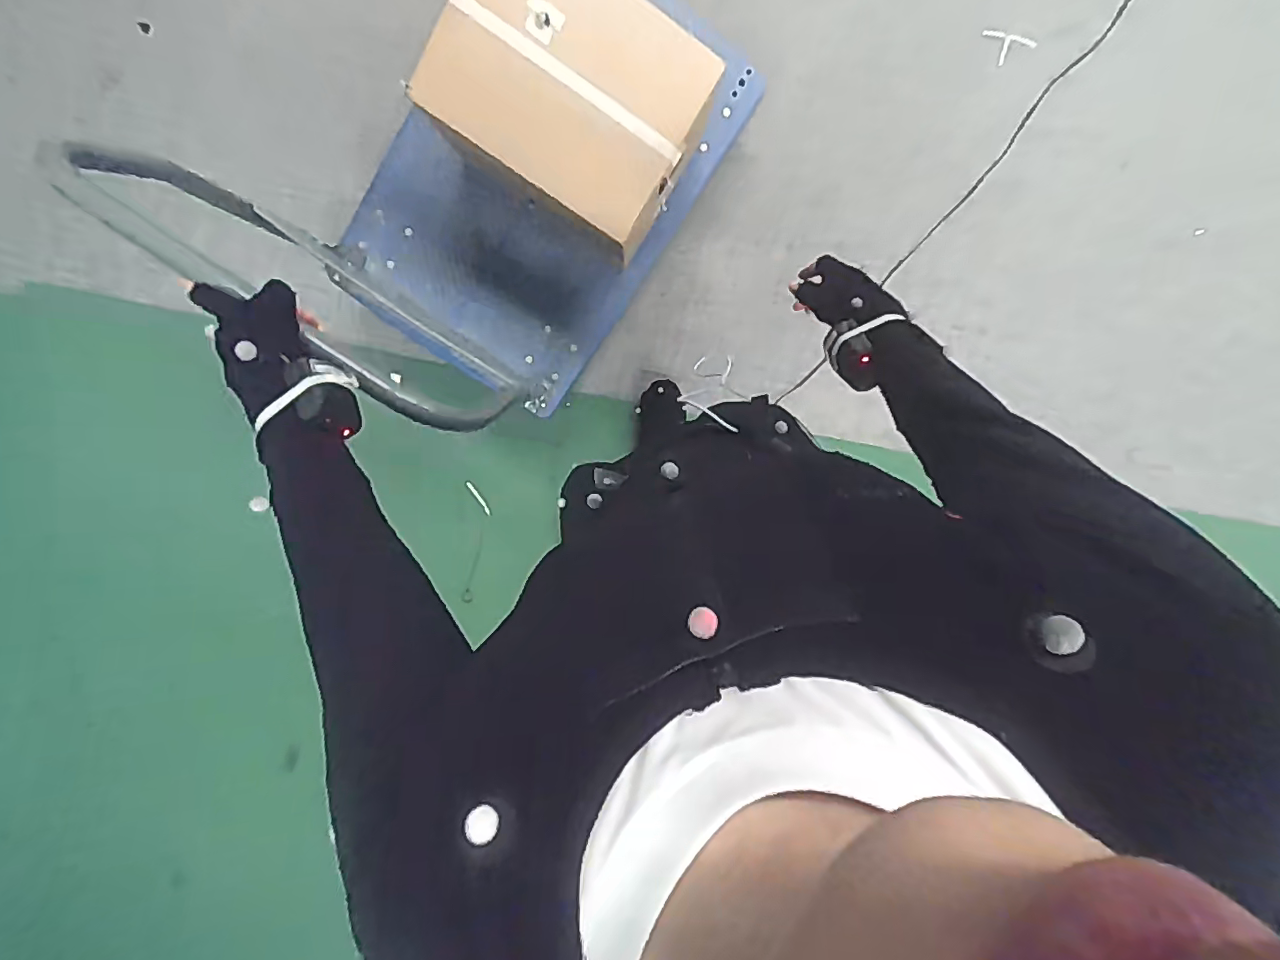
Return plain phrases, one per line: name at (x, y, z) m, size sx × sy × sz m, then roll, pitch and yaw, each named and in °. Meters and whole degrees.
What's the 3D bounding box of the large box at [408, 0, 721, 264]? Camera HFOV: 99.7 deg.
large box at (-0.117, -0.657, 0.988) m, size 0.408 × 0.320 × 0.320 m, roll 32°, pitch 100°, yaw -7°
